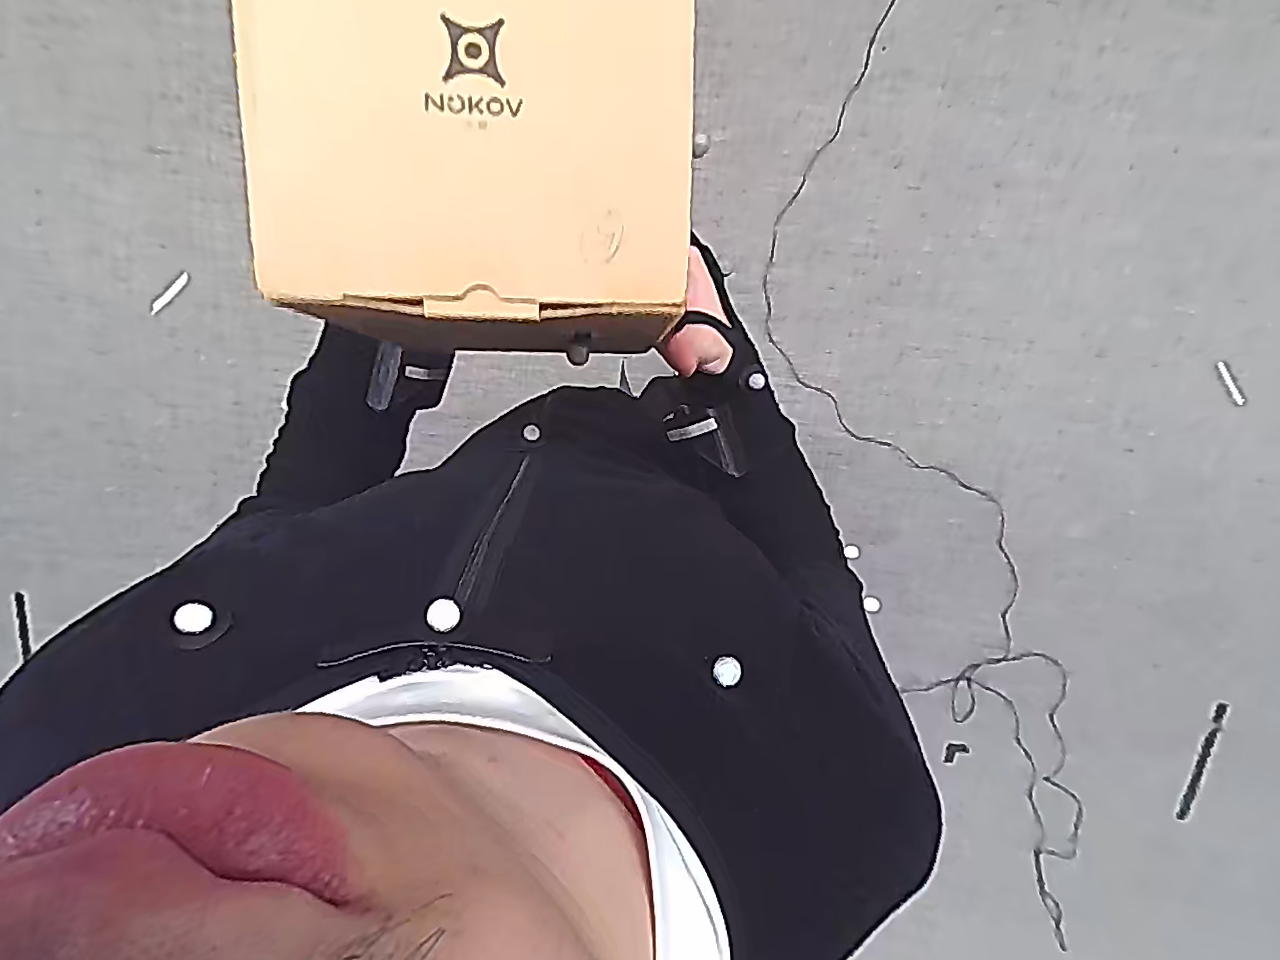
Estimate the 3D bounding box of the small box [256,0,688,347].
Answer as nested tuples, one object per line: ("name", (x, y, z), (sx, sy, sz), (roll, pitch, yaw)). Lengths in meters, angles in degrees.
("small box", (-0.070, -0.168, 0.292), (0.168, 0.176, 0.179), (0, 98, -6))
